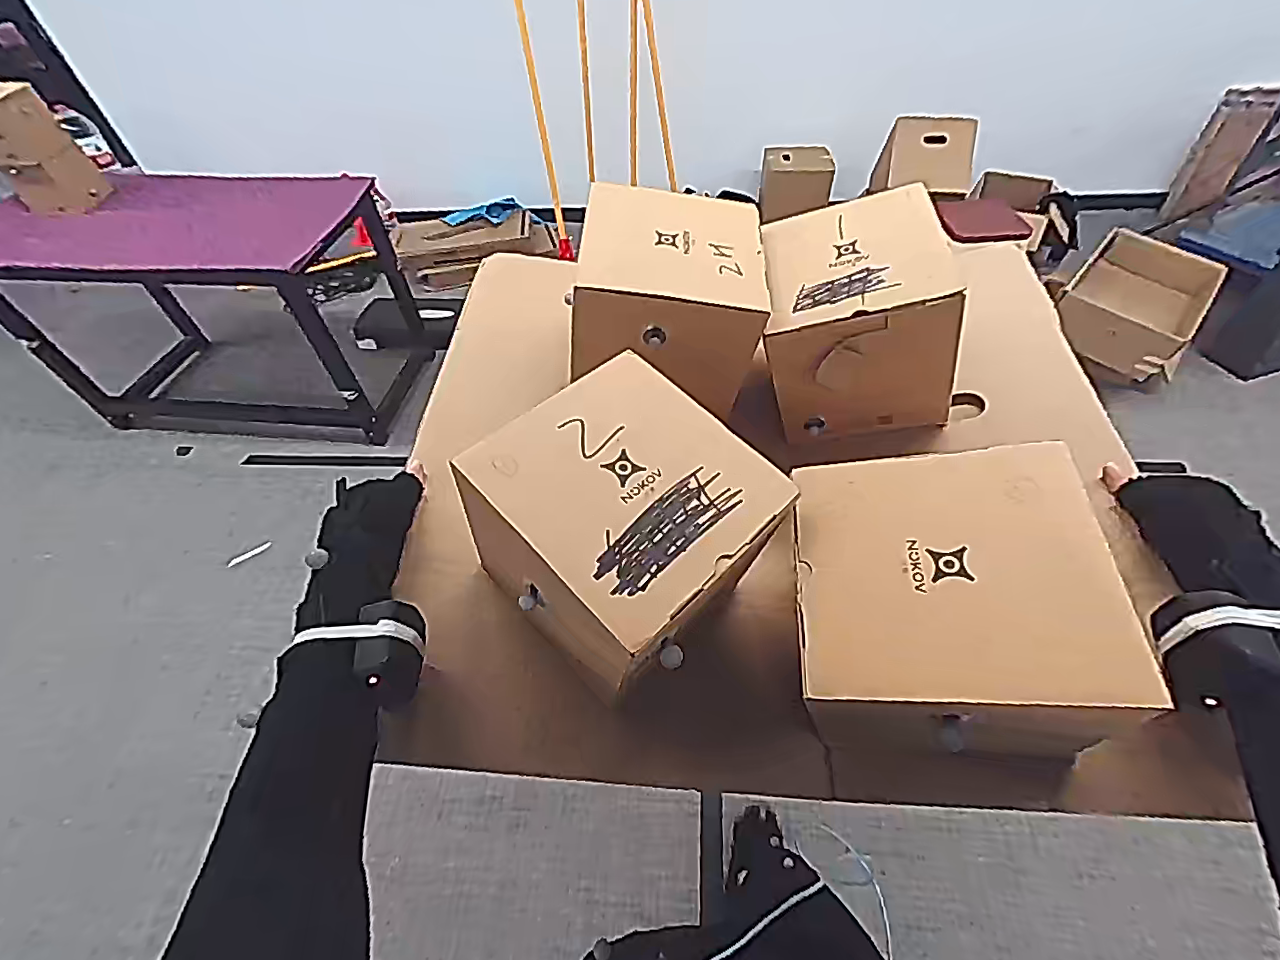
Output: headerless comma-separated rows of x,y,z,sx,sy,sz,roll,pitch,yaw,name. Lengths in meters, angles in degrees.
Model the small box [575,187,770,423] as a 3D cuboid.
0.026,-0.179,0.582,0.179,0.176,0.168,7,57,-5,small box
